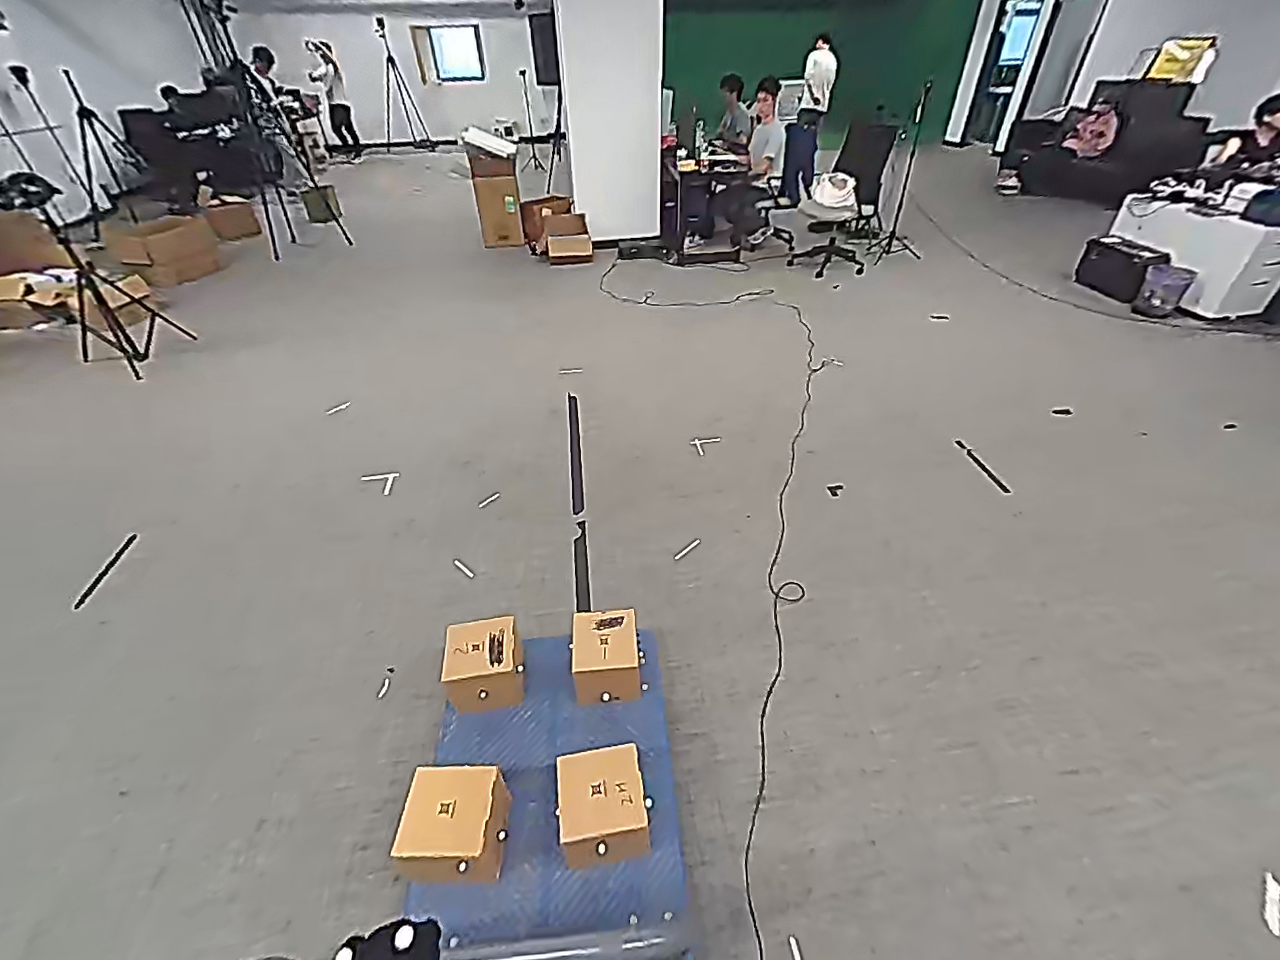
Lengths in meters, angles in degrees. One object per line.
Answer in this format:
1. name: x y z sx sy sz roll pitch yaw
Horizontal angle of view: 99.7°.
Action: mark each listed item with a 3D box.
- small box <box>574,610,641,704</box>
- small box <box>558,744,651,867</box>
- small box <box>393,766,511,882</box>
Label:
1. small box: -0.083 0.470 1.435 0.168 0.176 0.179 -4 40 -2
2. small box: -0.075 0.697 1.155 0.179 0.176 0.168 -7 40 -6
3. small box: -0.383 0.724 1.137 0.179 0.176 0.168 0 39 0
